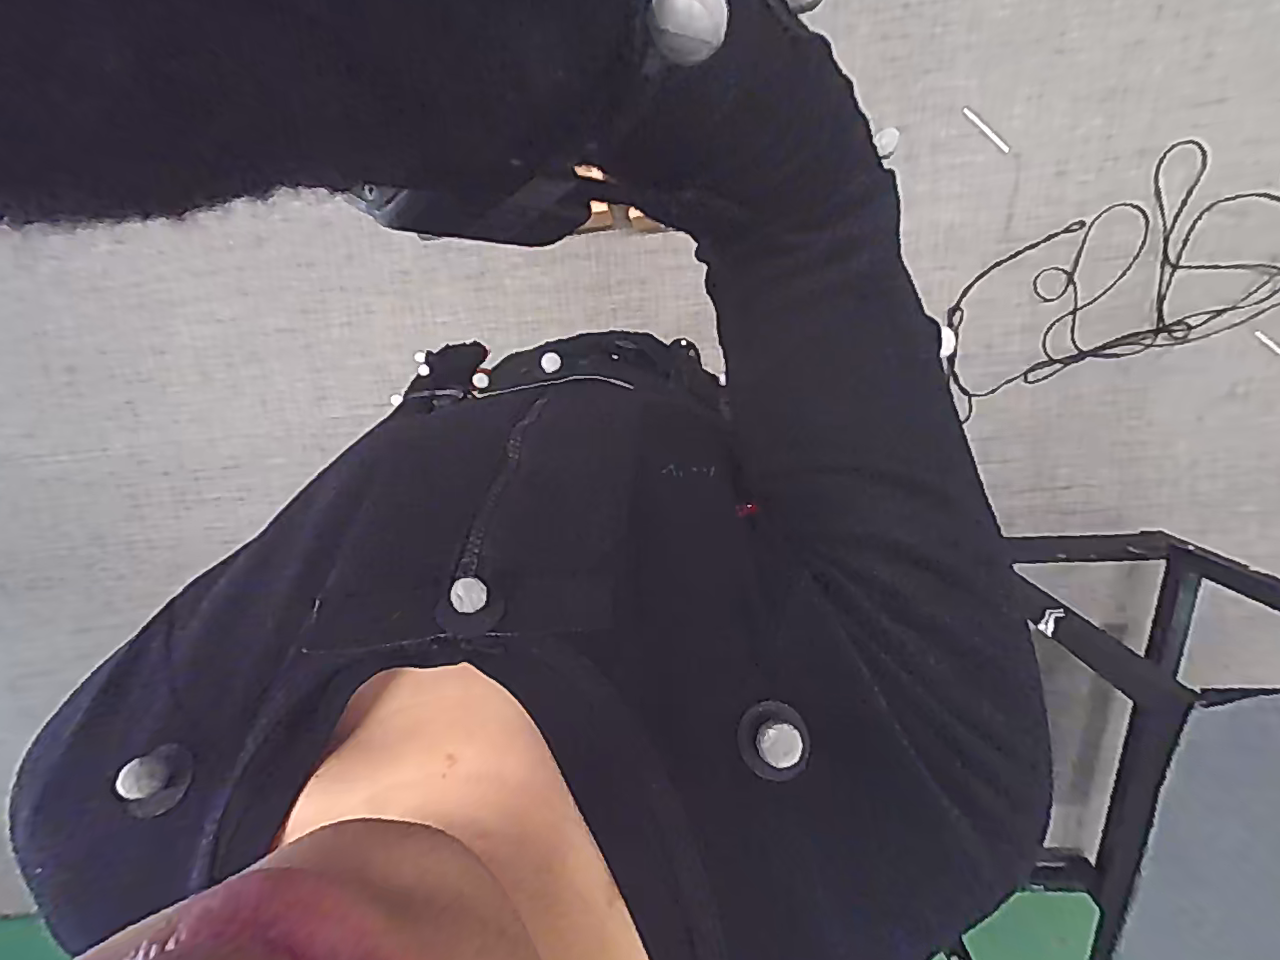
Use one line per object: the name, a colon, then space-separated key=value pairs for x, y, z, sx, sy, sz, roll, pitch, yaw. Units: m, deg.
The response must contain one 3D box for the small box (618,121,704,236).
small box: x=0.048 y=-0.670 z=1.222 sx=0.168 sy=0.176 sz=0.179 roll=-8 pitch=105 yaw=5
